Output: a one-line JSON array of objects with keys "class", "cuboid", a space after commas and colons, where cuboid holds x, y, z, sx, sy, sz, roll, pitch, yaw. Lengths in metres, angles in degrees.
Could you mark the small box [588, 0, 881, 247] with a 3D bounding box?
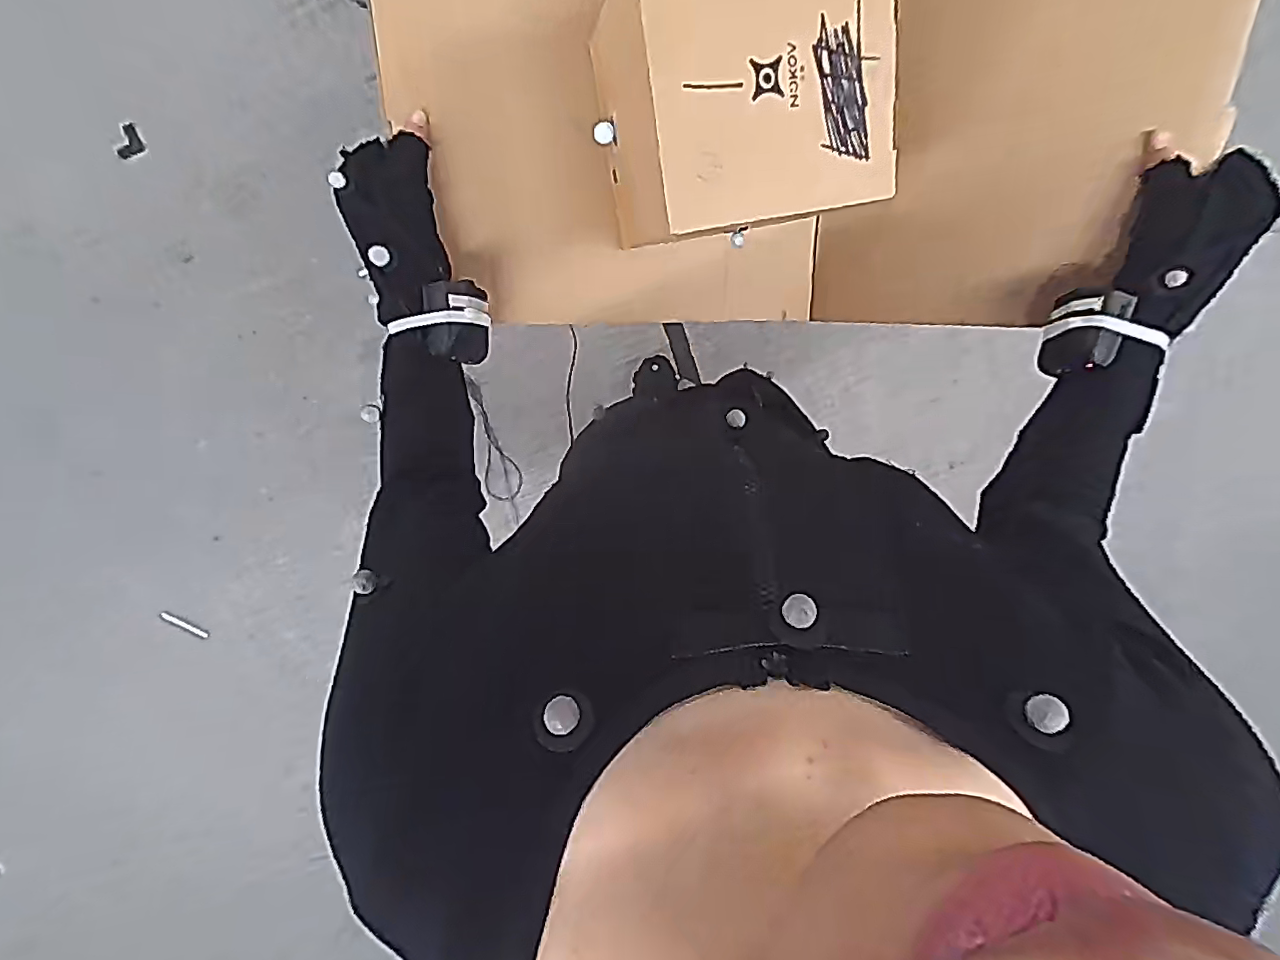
[{"class": "small box", "cuboid": [0.066, -0.292, 0.435, 0.179, 0.176, 0.168, -14, 112, -8]}]
